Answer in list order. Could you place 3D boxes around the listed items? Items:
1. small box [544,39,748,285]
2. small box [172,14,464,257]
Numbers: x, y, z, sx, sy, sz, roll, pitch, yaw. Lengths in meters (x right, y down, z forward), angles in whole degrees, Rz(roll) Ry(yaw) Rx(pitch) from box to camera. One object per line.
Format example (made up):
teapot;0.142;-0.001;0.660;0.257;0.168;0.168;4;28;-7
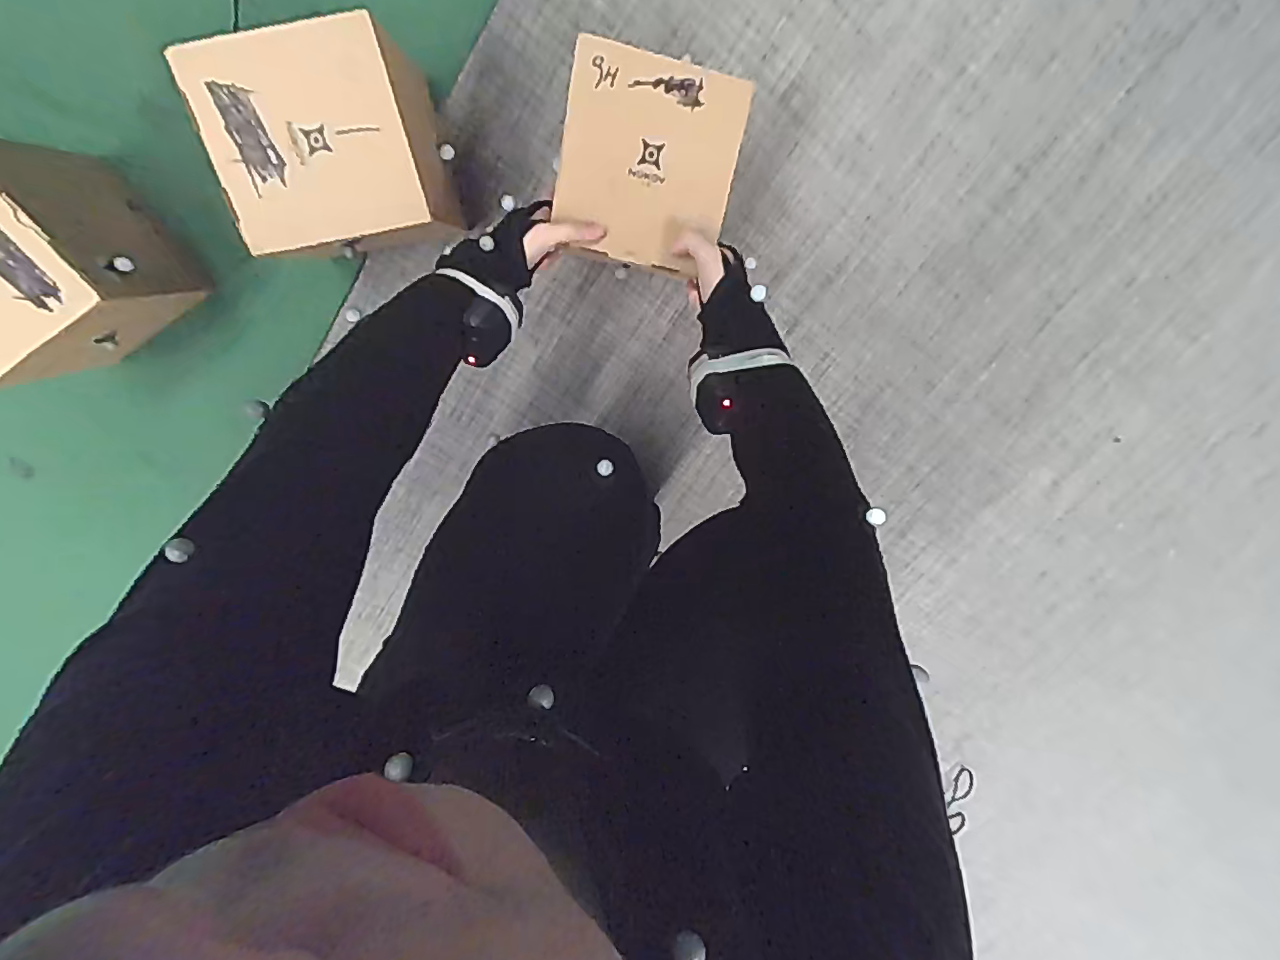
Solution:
small box;-0.002;-0.324;0.588;0.168;0.176;0.179;10;111;-9
small box;-0.303;-0.332;0.558;0.179;0.176;0.168;-12;113;-1
